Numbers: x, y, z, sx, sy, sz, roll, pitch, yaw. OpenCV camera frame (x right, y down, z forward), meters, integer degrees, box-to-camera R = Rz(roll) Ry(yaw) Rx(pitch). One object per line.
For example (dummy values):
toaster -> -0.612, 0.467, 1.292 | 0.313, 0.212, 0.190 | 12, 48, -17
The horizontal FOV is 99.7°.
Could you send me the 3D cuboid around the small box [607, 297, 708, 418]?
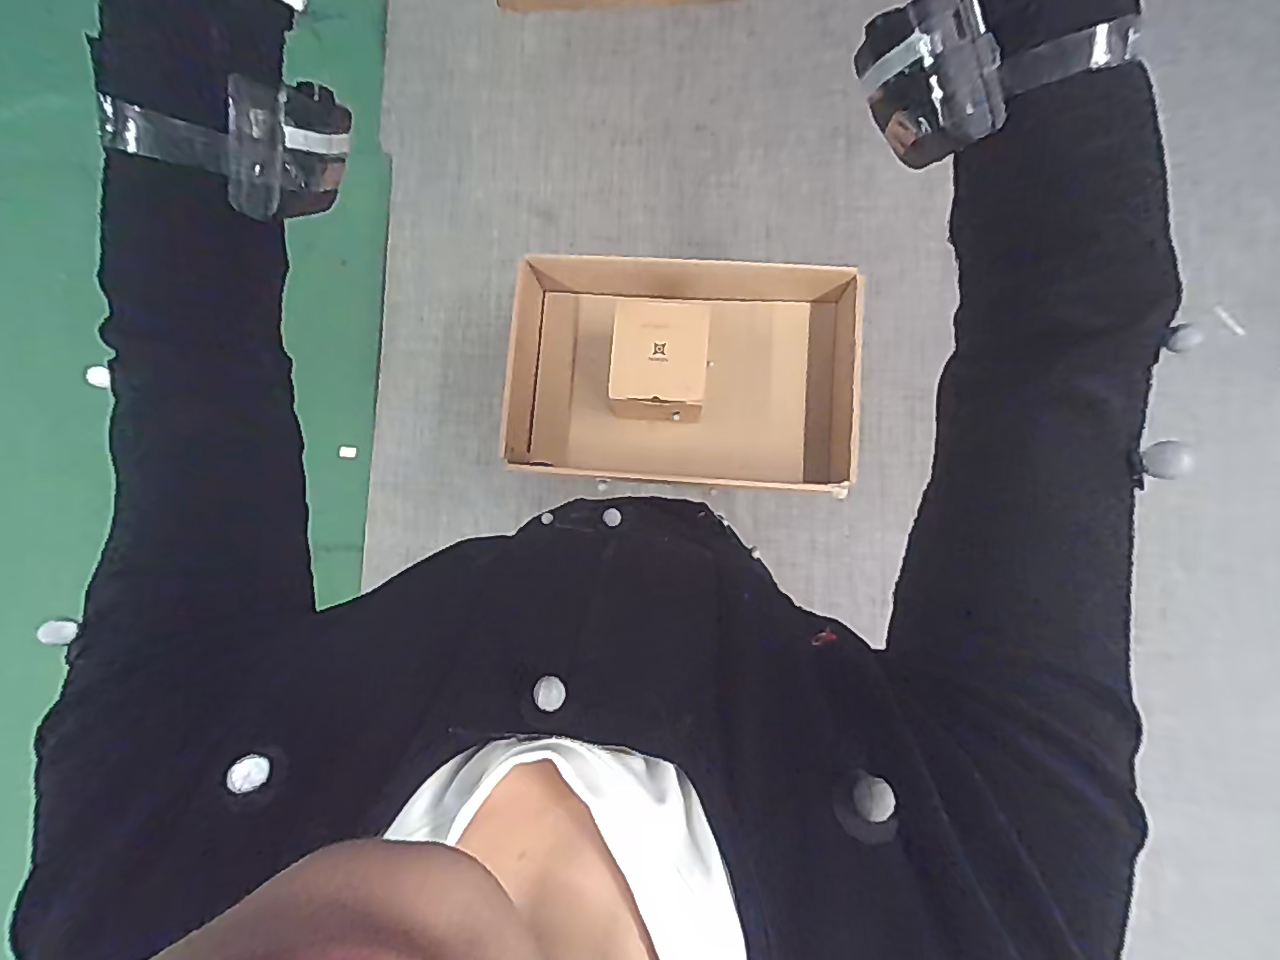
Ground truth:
small box -> 0.034, -0.218, 1.006 | 0.168, 0.176, 0.179 | 4, 84, 2
